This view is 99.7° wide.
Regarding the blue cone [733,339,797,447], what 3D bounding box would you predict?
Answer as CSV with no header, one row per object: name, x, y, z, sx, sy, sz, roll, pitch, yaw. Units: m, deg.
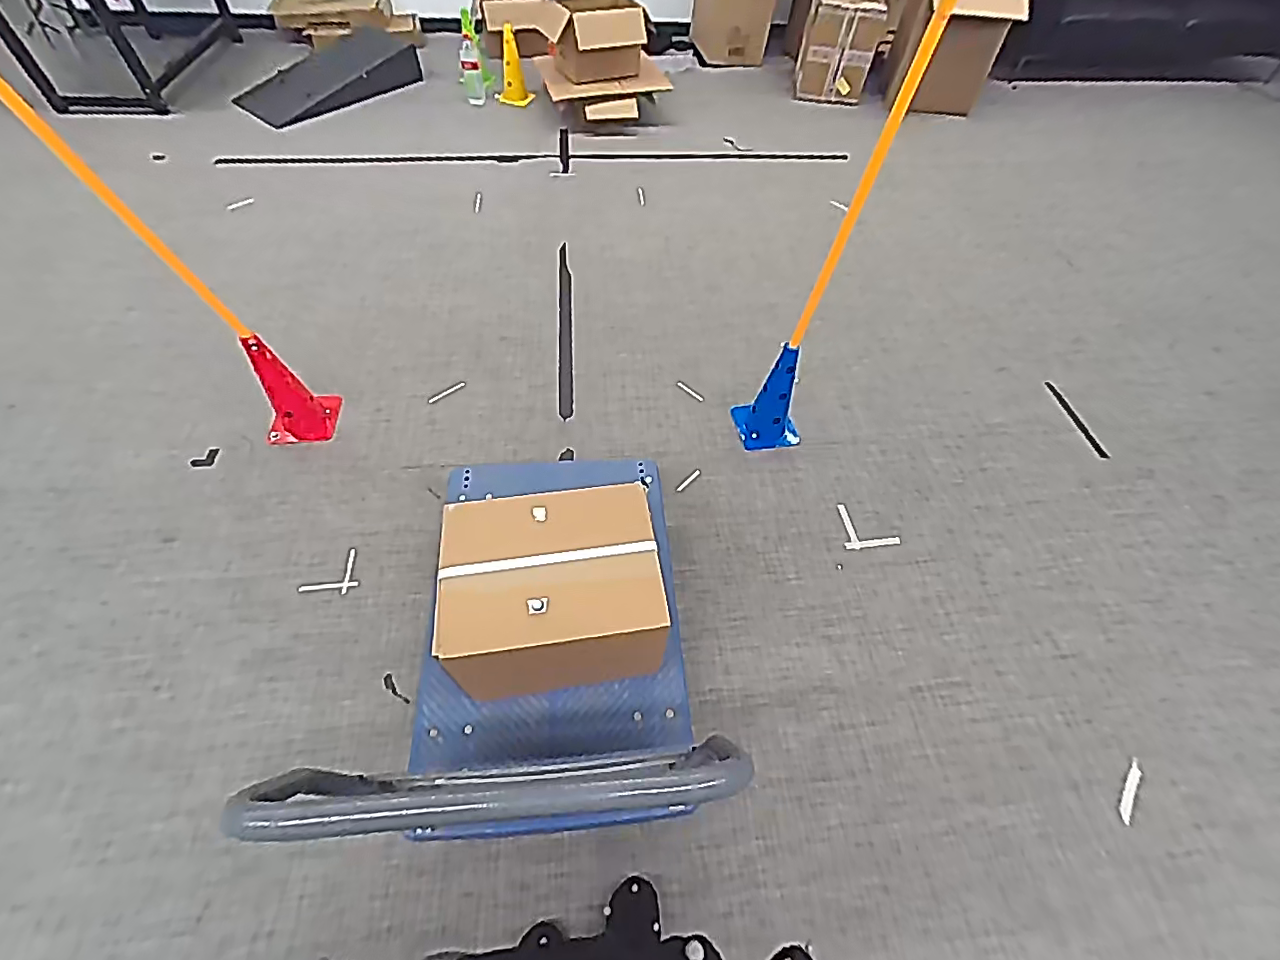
blue cone,0.440,-0.288,1.740,0.193,0.380,0.192,-6,54,-8
